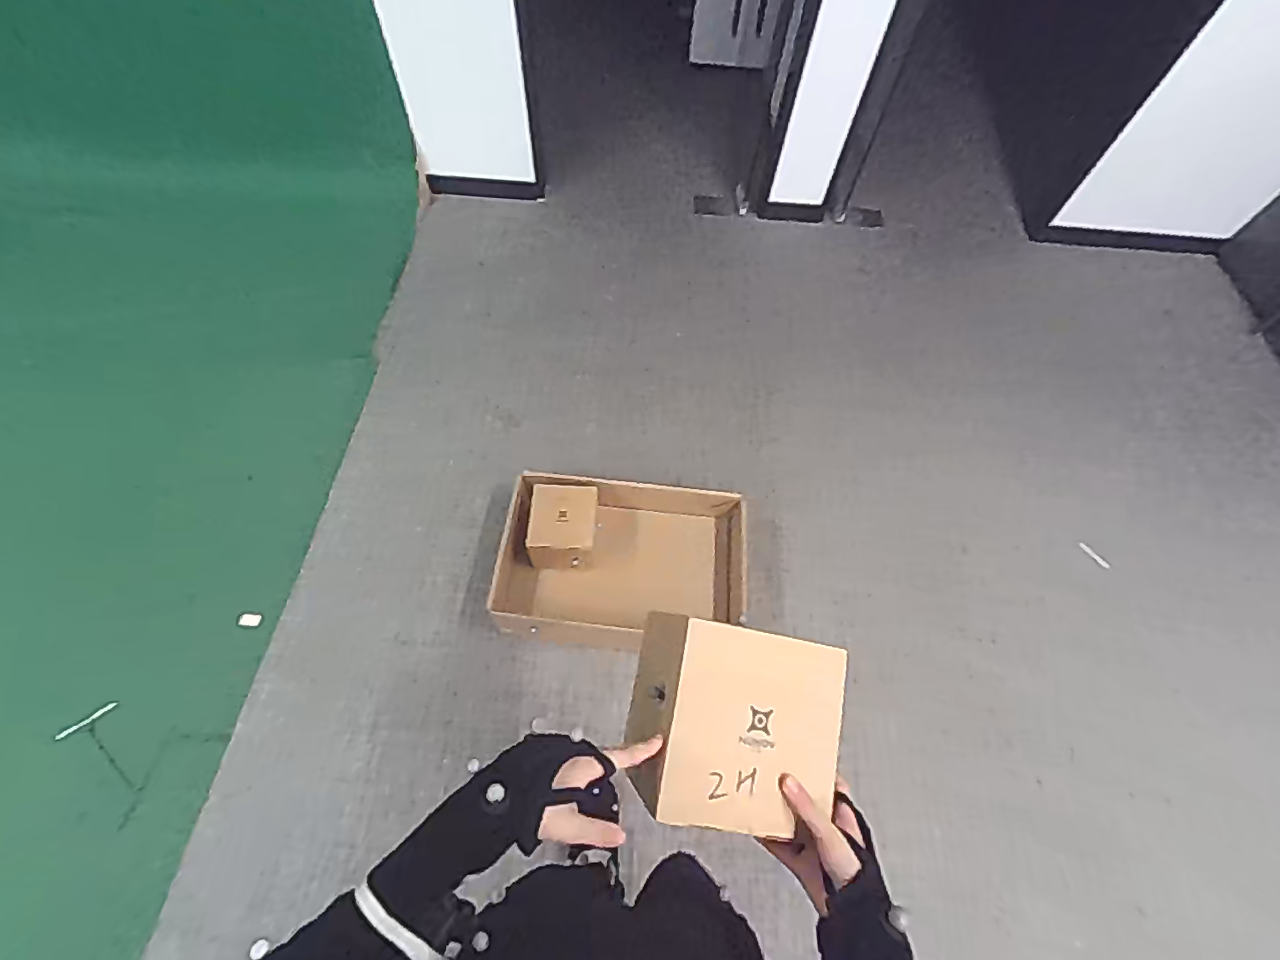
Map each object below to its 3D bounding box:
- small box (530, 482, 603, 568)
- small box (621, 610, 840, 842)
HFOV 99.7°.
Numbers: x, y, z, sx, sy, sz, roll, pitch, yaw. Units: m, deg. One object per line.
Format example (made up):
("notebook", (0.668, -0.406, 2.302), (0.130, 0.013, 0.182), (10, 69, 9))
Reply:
("small box", (-0.187, 0.124, 1.431), (0.168, 0.176, 0.179), (4, 62, -1))
("small box", (0.084, 0.238, 0.567), (0.168, 0.176, 0.179), (14, 76, -8))
